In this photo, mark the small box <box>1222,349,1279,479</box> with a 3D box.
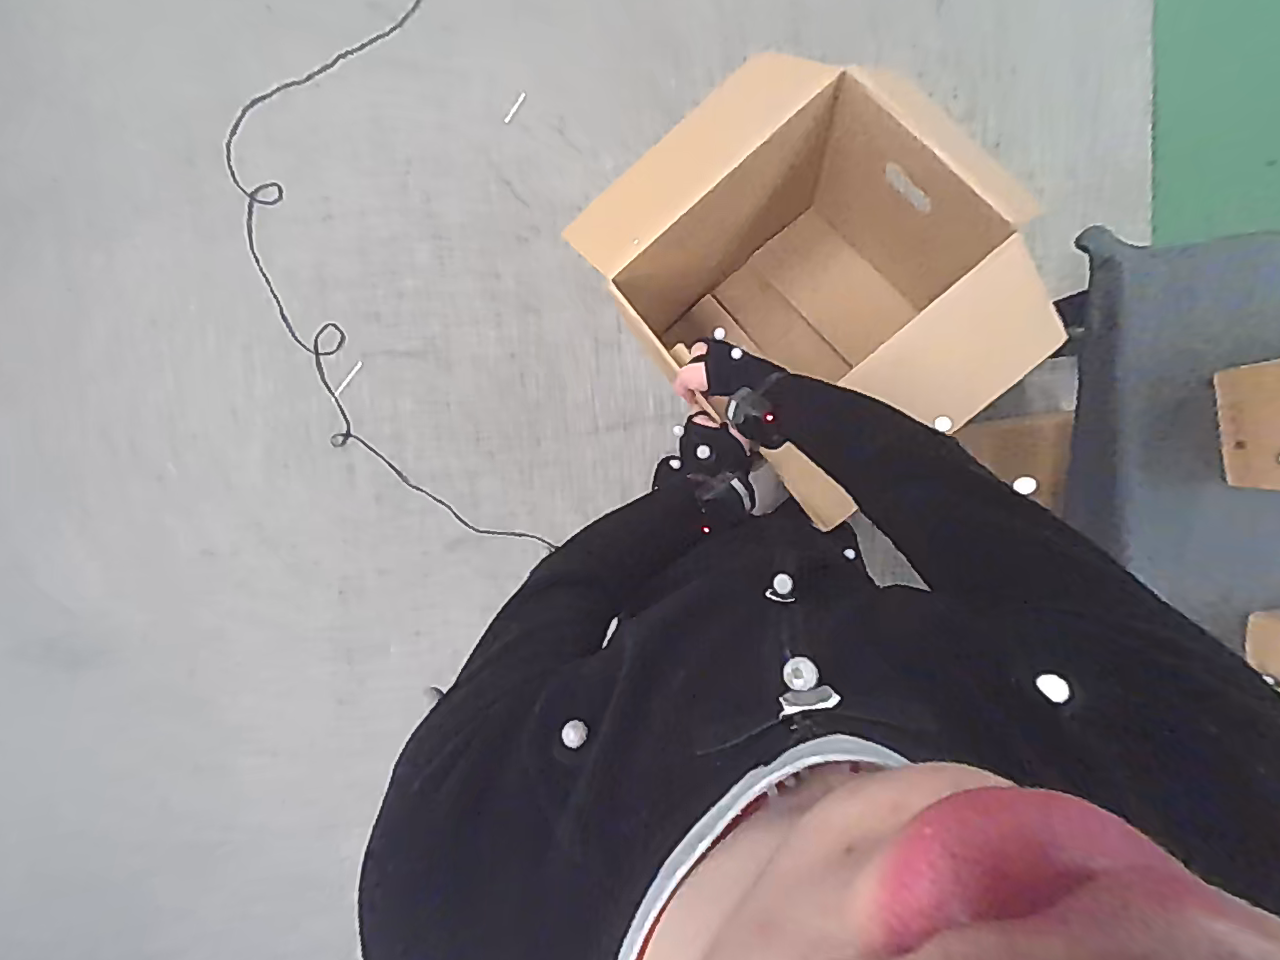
[{"bbox_3d":[0.902,-0.093,0.685,0.179,0.176,0.168,-13,96,1],"label":"small box"}]
